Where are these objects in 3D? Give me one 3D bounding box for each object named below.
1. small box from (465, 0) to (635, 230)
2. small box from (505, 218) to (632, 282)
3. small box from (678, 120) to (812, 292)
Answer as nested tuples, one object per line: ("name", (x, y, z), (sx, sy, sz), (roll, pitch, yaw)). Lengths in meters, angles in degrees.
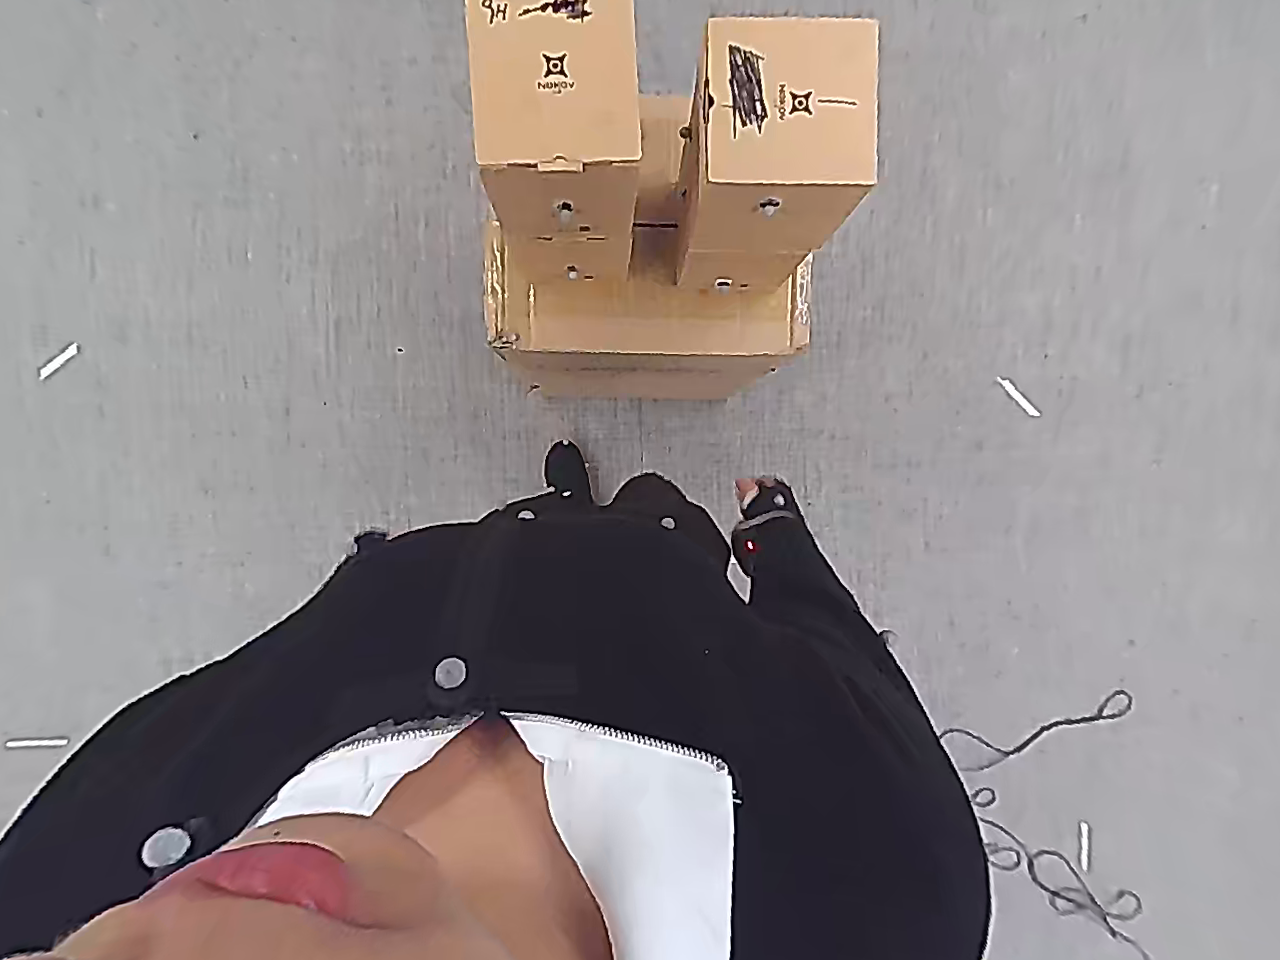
("small box", (-0.091, -0.400, 0.615), (0.168, 0.176, 0.179), (-3, 92, -3))
("small box", (-0.099, -0.403, 0.779), (0.168, 0.176, 0.179), (-2, 92, -4))
("small box", (0.144, -0.390, 0.793), (0.168, 0.176, 0.179), (-1, 93, 0))
